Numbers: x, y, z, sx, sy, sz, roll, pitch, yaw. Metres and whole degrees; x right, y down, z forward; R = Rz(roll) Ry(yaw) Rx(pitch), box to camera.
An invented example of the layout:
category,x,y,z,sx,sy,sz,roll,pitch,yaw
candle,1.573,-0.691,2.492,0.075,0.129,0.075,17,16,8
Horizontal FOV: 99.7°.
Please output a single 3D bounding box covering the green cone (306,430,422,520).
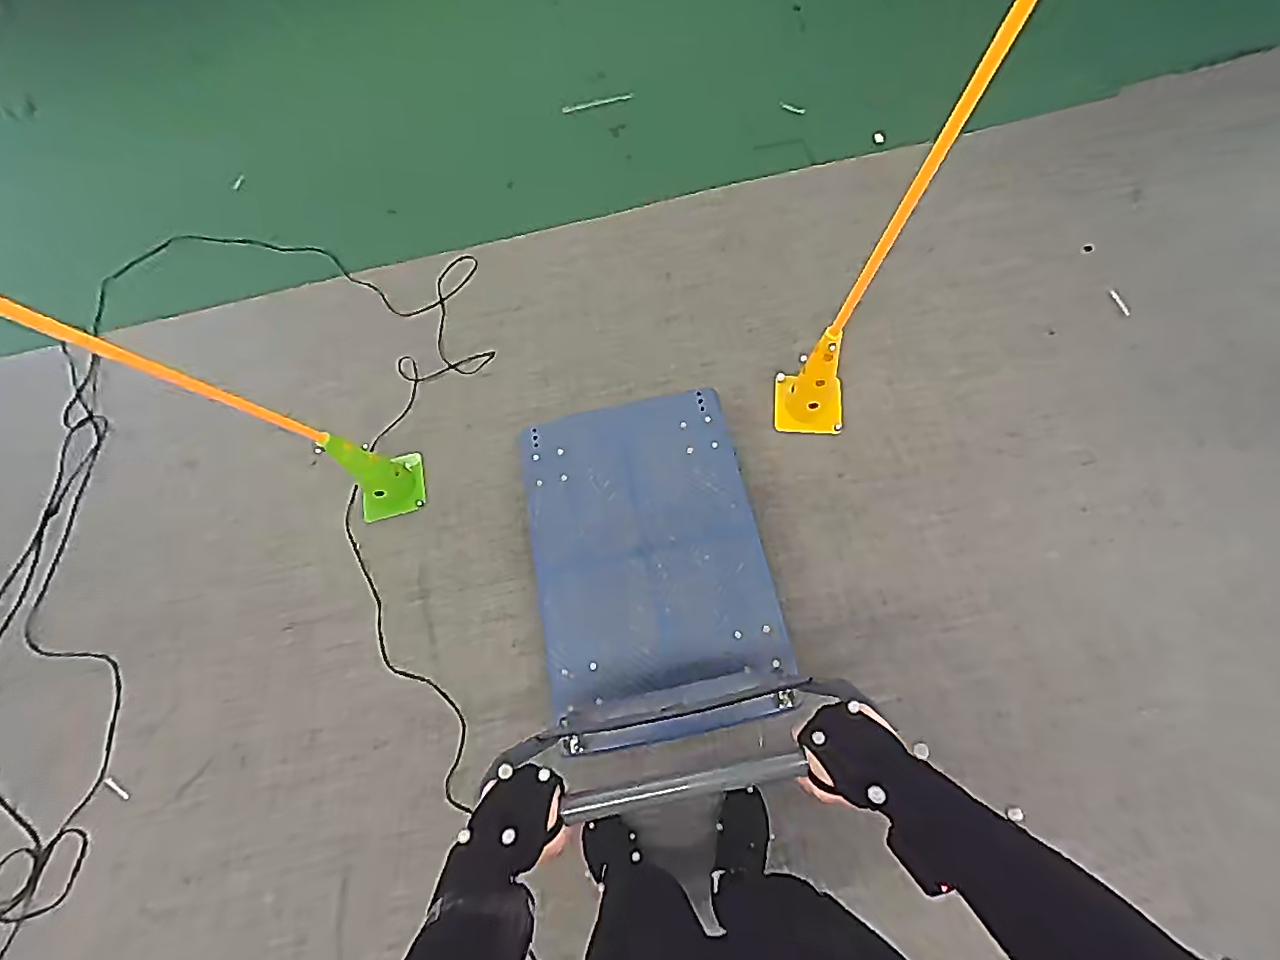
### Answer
category,x,y,z,sx,sy,sz,roll,pitch,yaw
green cone,-0.809,-0.050,1.546,0.202,0.368,0.200,-17,67,1
